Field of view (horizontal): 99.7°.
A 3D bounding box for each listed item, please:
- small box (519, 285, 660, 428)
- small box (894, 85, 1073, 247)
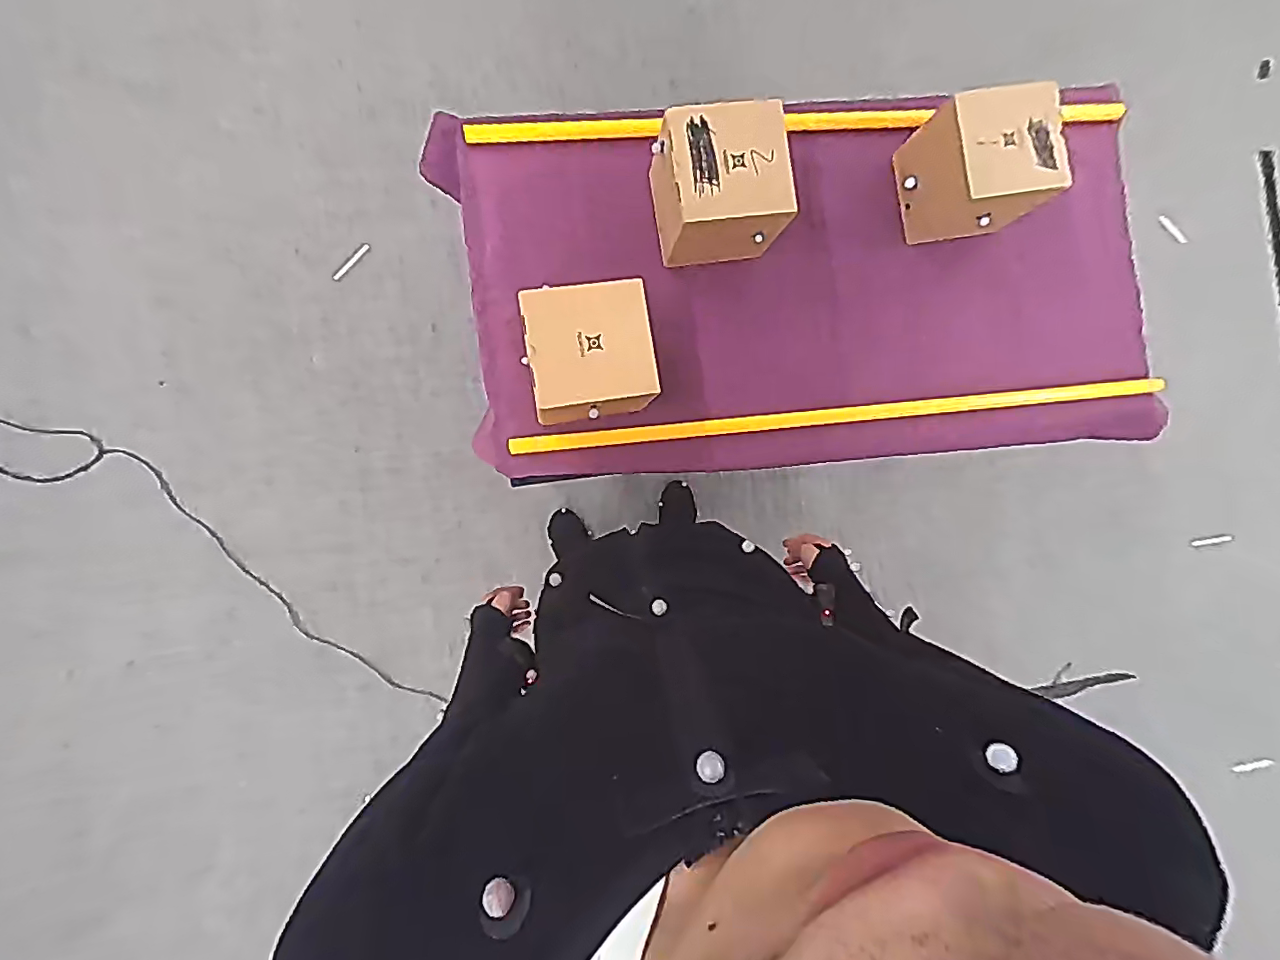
[{"bbox_3d":[-0.080,-0.178,0.822,0.179,0.176,0.168,-10,90,-8],"label":"small box"},{"bbox_3d":[0.559,-0.510,0.898,0.179,0.176,0.168,-11,91,-5],"label":"small box"}]
